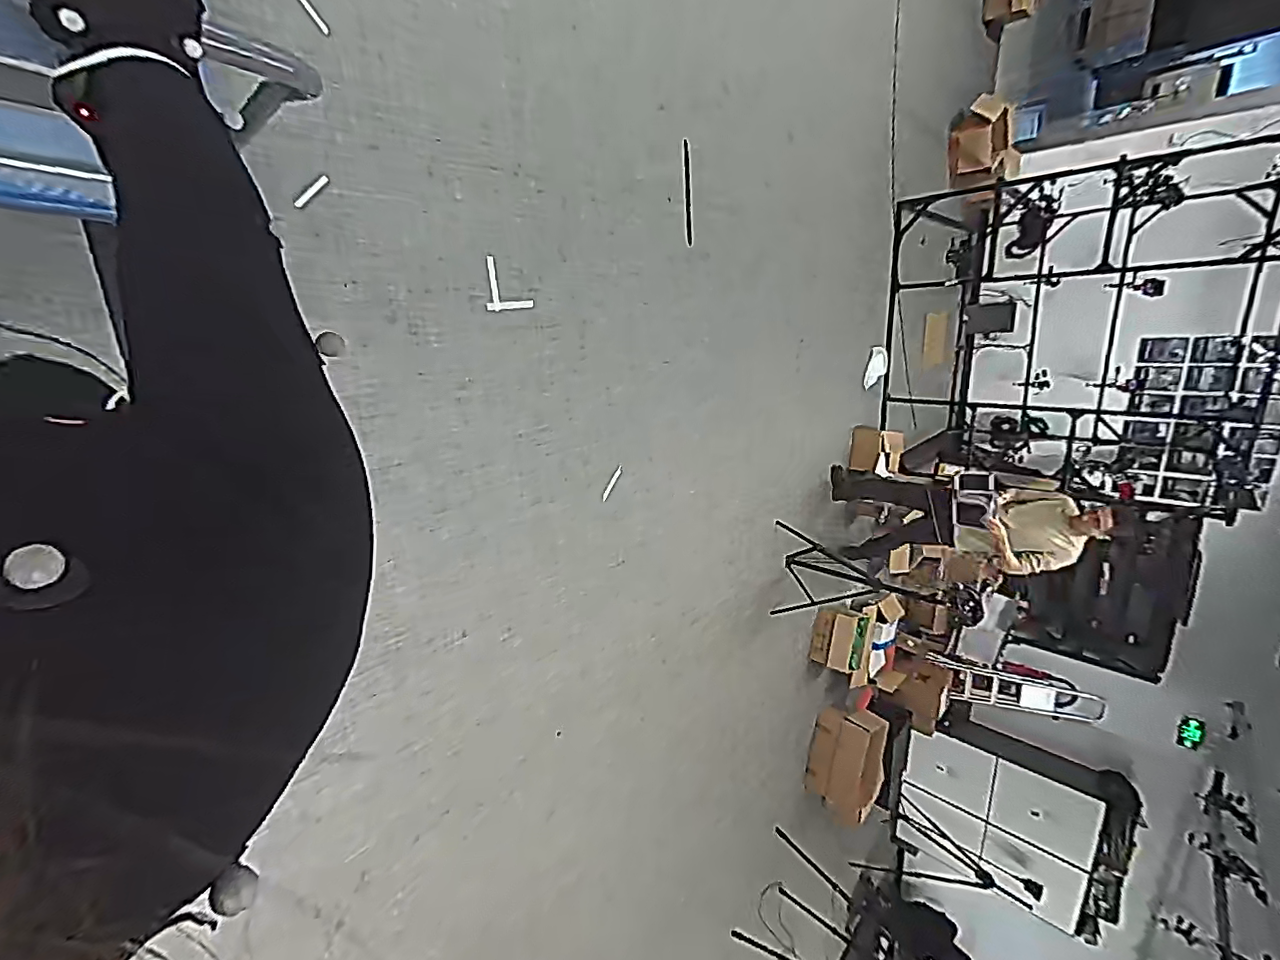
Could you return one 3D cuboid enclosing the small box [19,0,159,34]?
[{"bbox_3d":[-0.832,-0.798,0.787,0.179,0.176,0.168,-18,112,-45],"label":"small box"}]
